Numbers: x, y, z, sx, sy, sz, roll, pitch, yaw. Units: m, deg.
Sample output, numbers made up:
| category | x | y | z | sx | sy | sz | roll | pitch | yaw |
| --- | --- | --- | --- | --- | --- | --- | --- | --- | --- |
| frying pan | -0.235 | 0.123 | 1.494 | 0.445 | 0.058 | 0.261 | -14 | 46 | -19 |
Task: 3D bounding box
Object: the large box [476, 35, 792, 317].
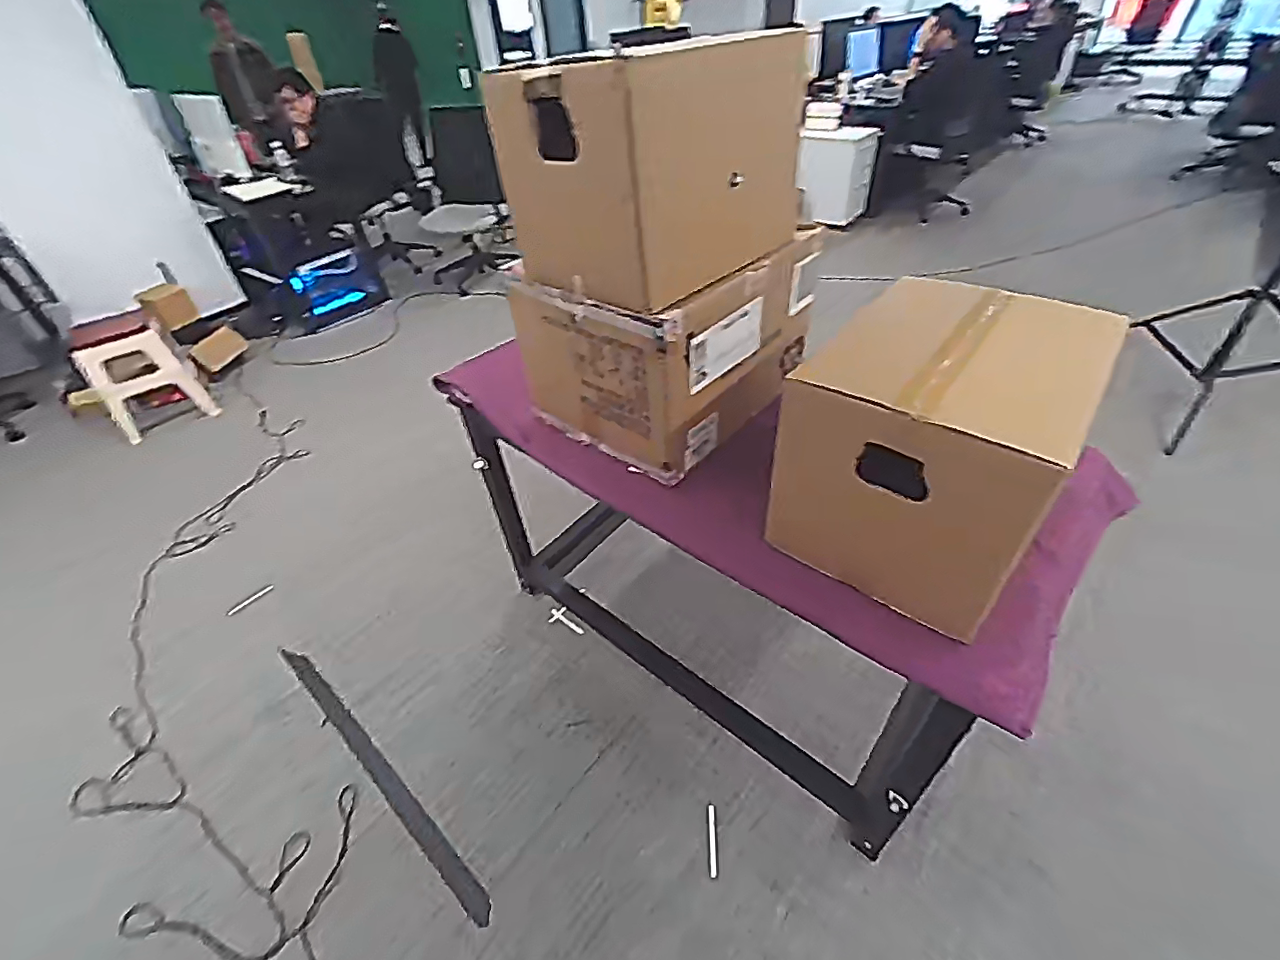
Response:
| category | x | y | z | sx | sy | sz | roll | pitch | yaw |
| --- | --- | --- | --- | --- | --- | --- | --- | --- | --- |
| large box | 0.014 | -0.516 | 0.906 | 0.320 | 0.320 | 0.408 | 25 | 50 | 36 |
